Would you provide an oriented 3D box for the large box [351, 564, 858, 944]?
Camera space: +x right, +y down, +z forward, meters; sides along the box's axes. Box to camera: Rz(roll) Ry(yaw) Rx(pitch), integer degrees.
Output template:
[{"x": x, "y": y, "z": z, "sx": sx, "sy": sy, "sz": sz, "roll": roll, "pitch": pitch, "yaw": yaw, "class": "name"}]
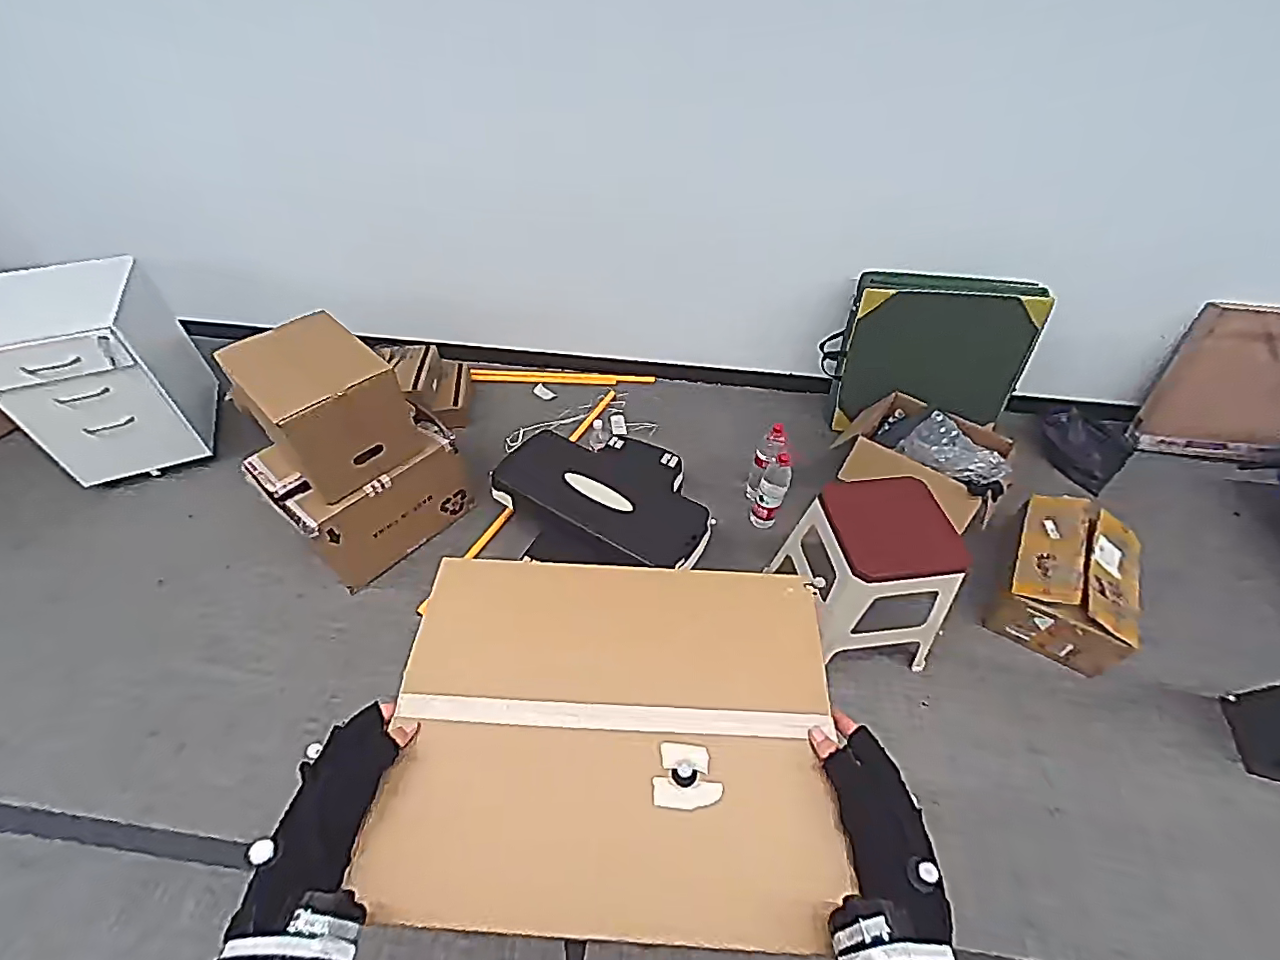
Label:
[{"x": -0.025, "y": 0.315, "z": 0.623, "sx": 0.408, "sy": 0.320, "sz": 0.320, "roll": 3, "pitch": 53, "yaw": 2, "class": "large box"}]
